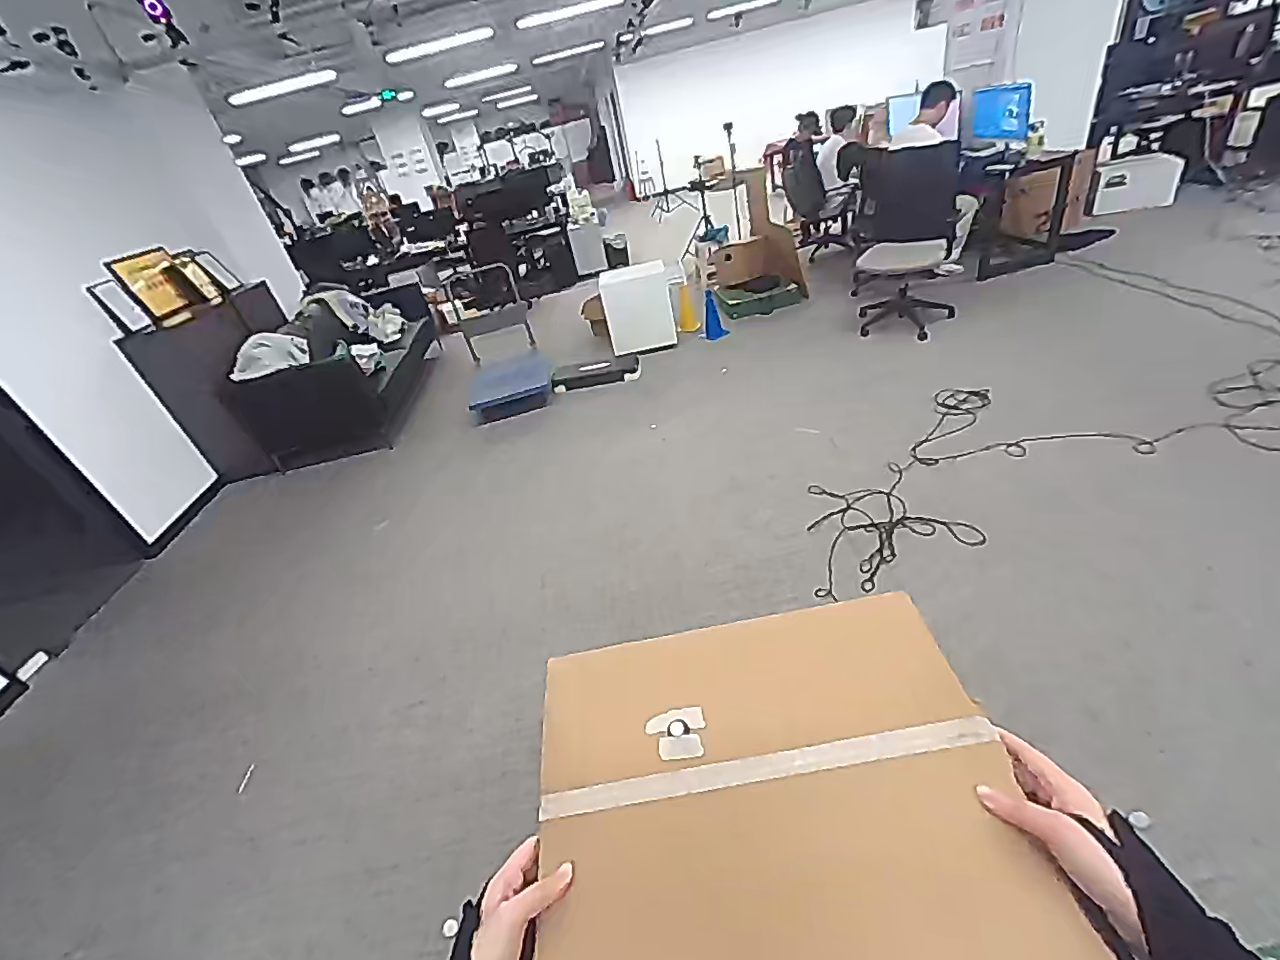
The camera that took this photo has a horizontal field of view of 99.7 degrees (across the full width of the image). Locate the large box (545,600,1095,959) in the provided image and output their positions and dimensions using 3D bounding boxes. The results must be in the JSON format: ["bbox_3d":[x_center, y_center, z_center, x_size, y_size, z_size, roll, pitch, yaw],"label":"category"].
[{"bbox_3d":[0.142,0.383,0.589,0.408,0.320,0.320,-14,40,5],"label":"large box"}]
